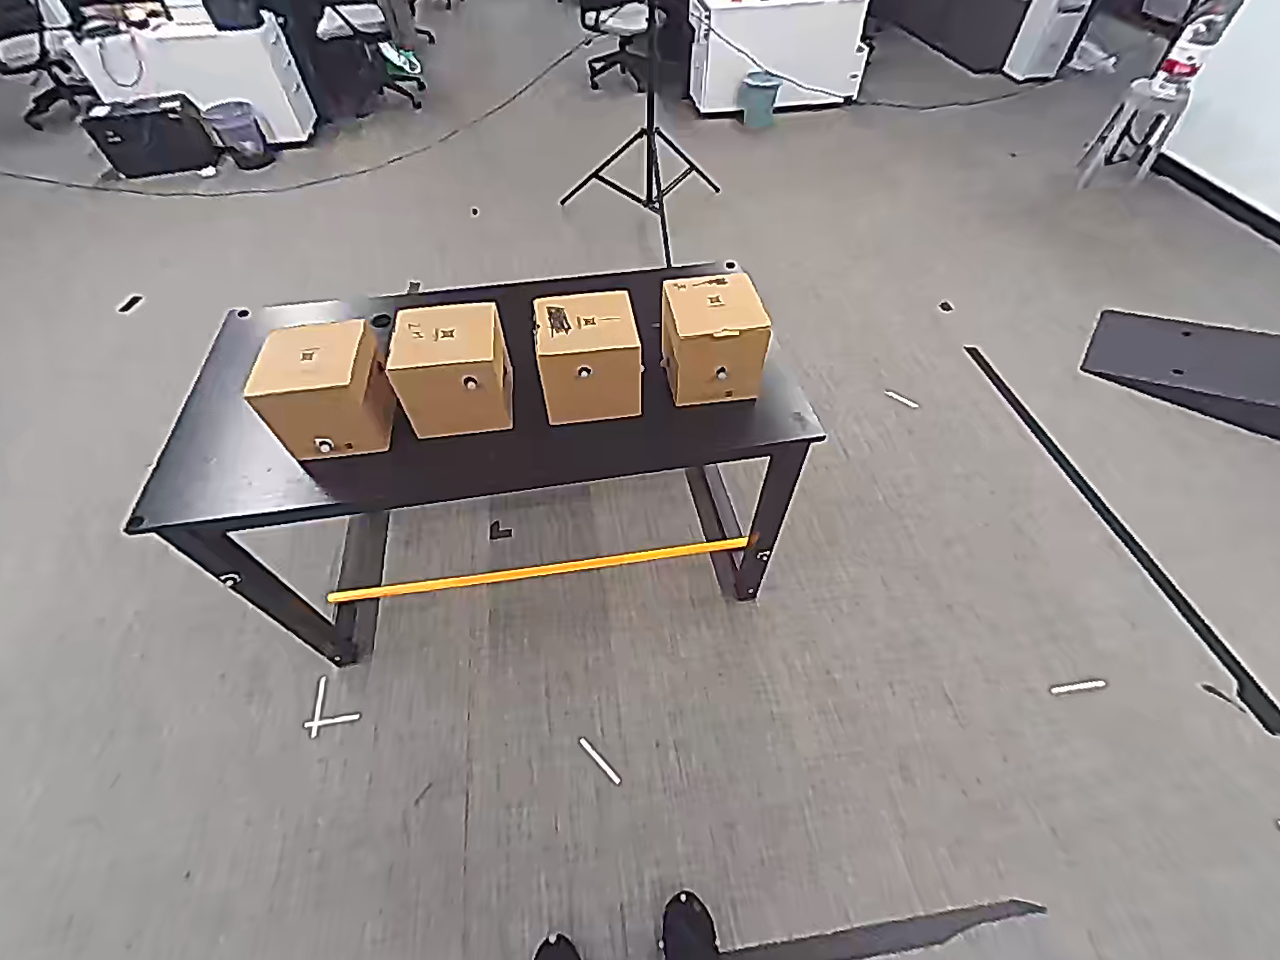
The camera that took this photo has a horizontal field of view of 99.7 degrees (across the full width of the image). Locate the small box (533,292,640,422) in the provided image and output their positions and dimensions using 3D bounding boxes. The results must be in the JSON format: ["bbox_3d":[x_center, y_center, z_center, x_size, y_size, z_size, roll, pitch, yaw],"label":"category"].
[{"bbox_3d":[-0.097,-0.225,1.005,0.179,0.176,0.168,-7,53,-5],"label":"small box"}]

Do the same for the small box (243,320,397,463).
[{"bbox_3d":[-0.550,-0.155,0.960,0.168,0.176,0.179,-9,54,-4],"label":"small box"}]

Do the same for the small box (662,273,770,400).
[{"bbox_3d":[0.135,-0.267,1.033,0.168,0.176,0.179,-6,53,-5],"label":"small box"}]
